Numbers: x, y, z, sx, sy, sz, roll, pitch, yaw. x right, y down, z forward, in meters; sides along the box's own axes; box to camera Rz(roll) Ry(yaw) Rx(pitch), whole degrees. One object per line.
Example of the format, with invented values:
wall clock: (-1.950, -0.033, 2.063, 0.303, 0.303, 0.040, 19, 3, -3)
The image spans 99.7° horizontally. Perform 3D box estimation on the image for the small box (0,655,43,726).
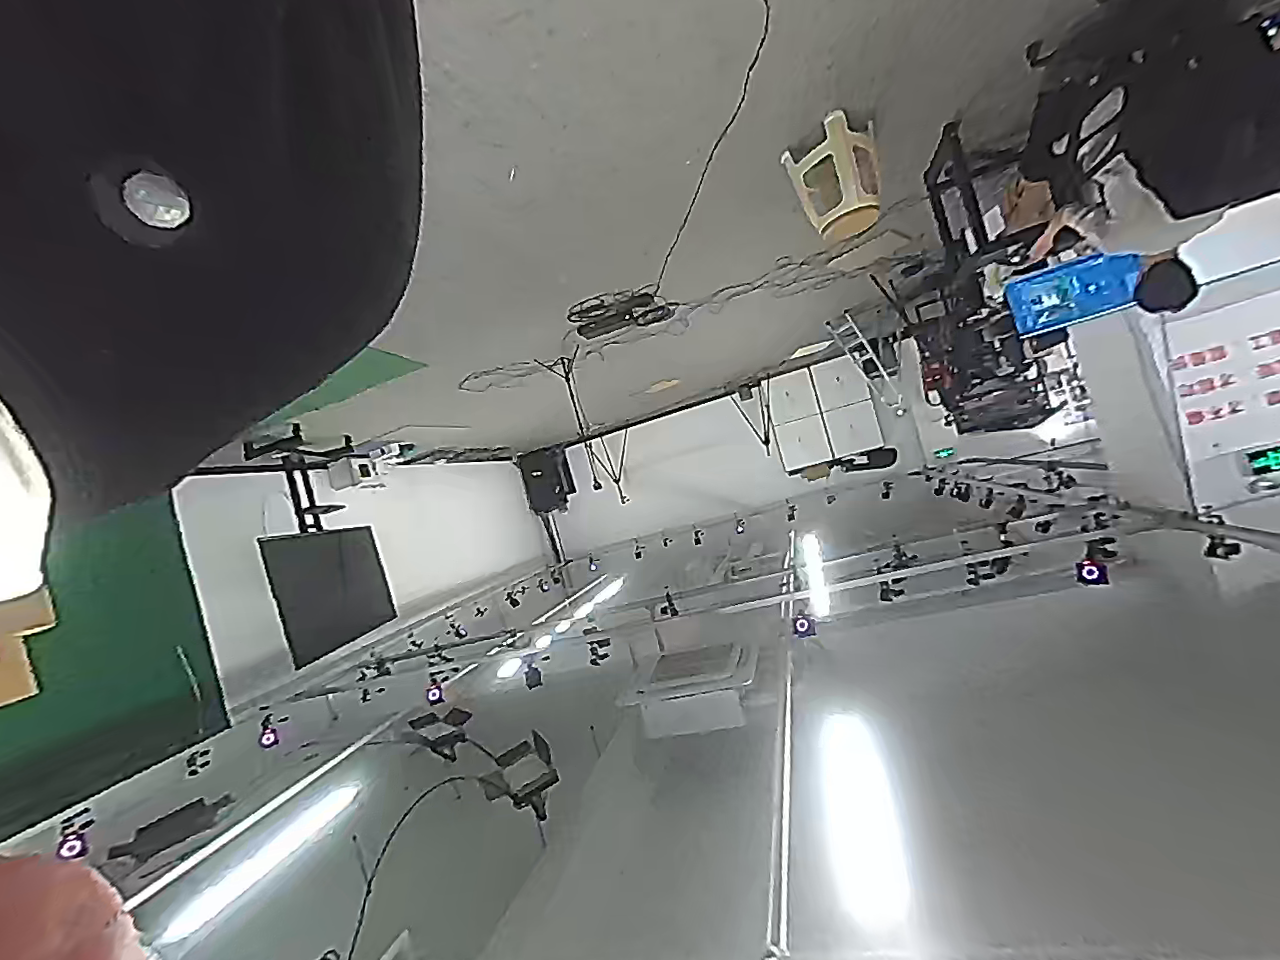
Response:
small box: (-1.733, 0.573, 1.402, 0.179, 0.176, 0.168, -20, 178, 12)
